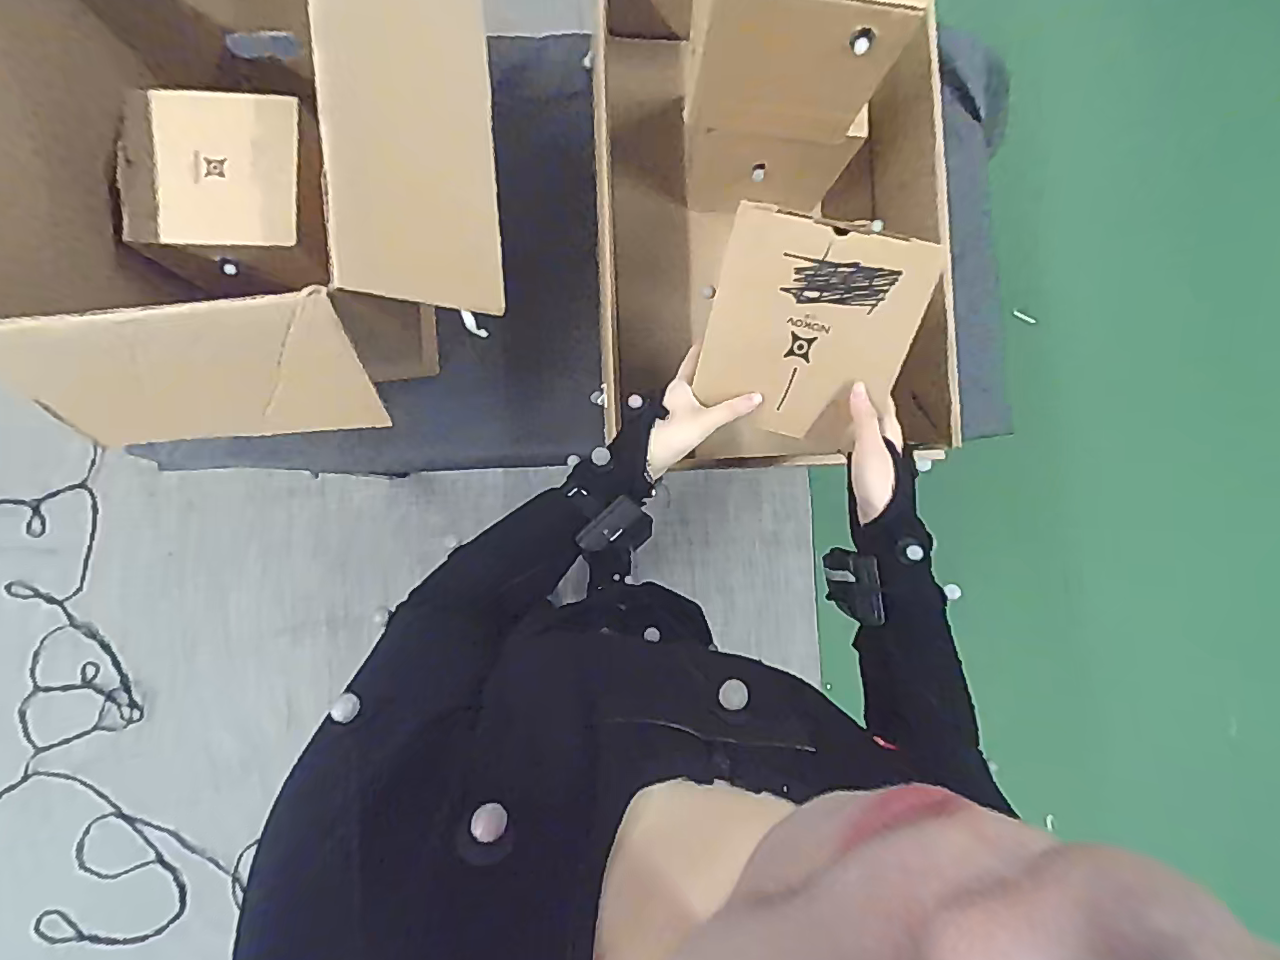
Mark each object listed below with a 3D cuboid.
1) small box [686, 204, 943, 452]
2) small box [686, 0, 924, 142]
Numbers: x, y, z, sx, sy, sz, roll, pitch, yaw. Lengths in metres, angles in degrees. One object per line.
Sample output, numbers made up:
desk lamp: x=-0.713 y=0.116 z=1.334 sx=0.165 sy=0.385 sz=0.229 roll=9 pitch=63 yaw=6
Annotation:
small box: x=0.150 y=-0.155 z=0.524 sx=0.168 sy=0.176 sz=0.179 roll=15 pitch=119 yaw=4
small box: x=0.144 y=-0.456 z=0.513 sx=0.179 sy=0.176 sz=0.168 roll=5 pitch=89 yaw=-4
